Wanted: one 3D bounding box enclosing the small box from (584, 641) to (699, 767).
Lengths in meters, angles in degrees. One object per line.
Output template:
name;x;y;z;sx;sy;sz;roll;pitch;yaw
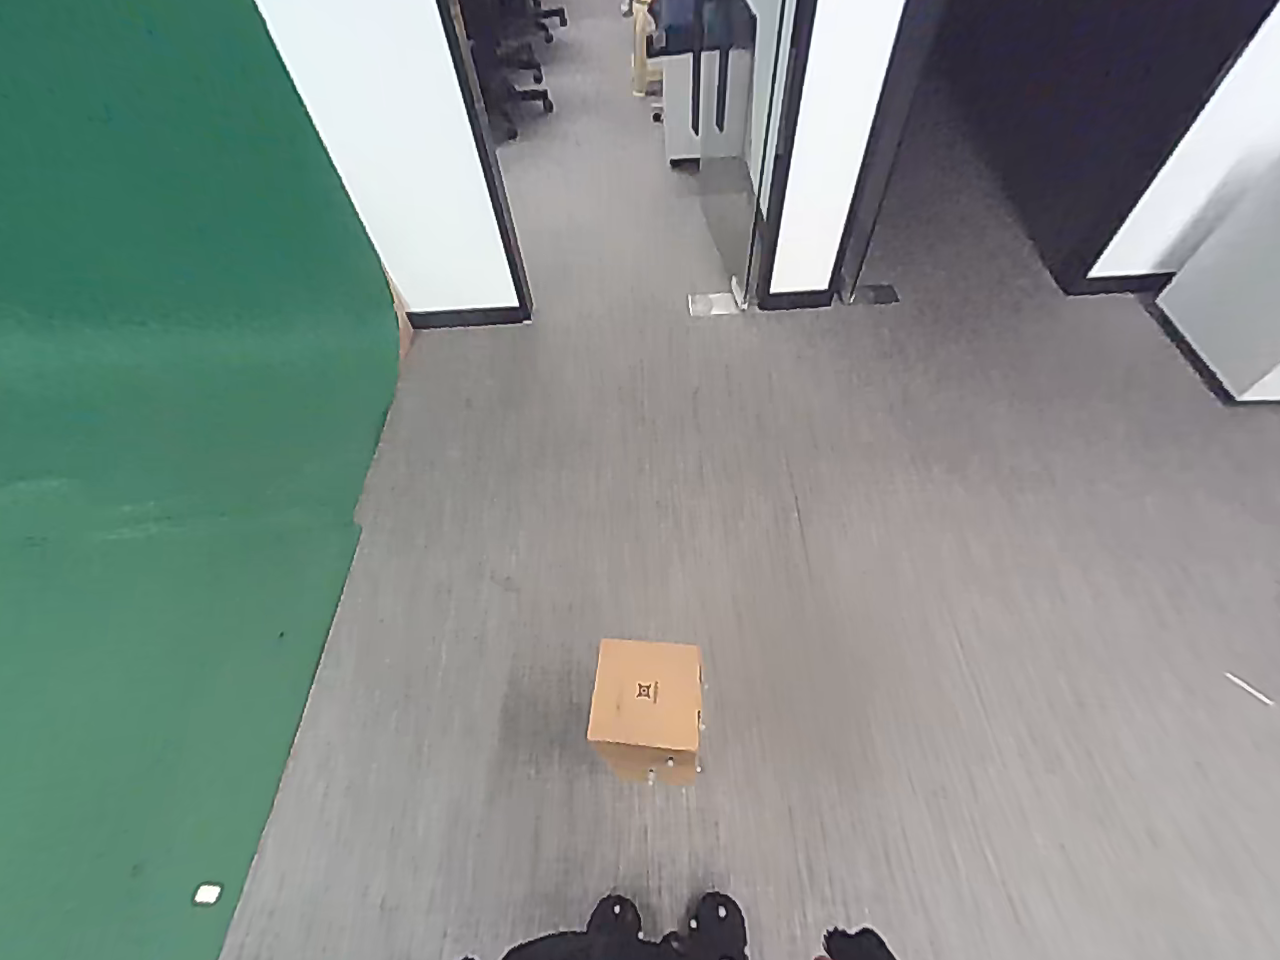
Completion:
small box;0.012;0.394;0.945;0.179;0.176;0.168;1;54;7

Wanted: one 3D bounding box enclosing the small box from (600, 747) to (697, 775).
small box;0.023;0.487;1.081;0.179;0.176;0.168;0;56;5

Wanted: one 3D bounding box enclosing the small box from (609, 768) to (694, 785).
small box;0.034;0.579;1.212;0.179;0.176;0.168;1;54;7
